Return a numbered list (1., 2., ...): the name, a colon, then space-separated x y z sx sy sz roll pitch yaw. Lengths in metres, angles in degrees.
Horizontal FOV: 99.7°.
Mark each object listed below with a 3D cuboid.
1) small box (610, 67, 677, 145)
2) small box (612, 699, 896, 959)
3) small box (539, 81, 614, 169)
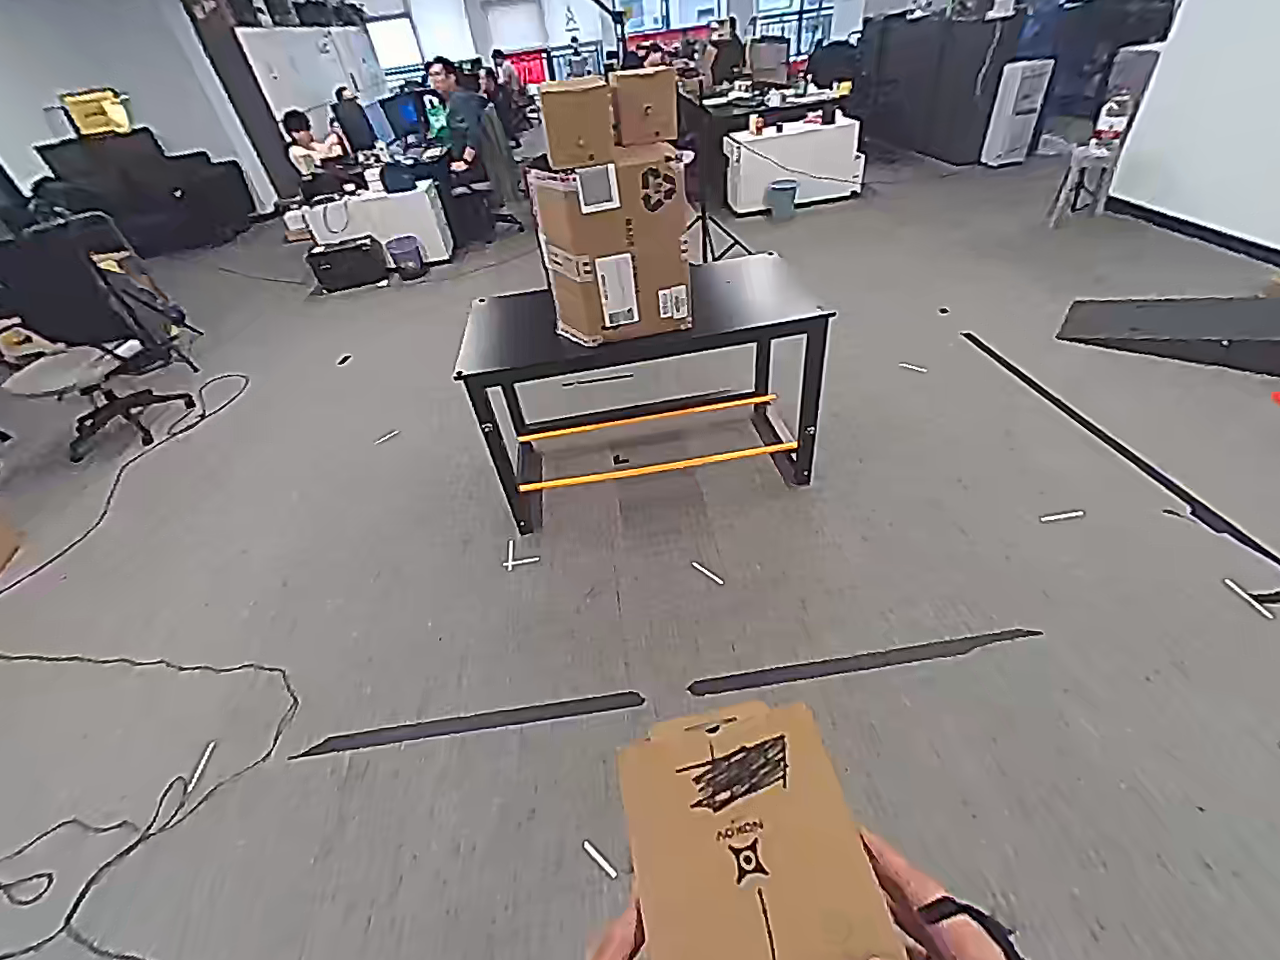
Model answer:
1. small box: 0.011 -1.096 1.589 0.168 0.176 0.179 -9 41 -5
2. small box: 0.076 0.317 0.458 0.168 0.176 0.179 -12 49 -5
3. small box: -0.165 -0.927 1.413 0.168 0.176 0.179 -11 42 -5
